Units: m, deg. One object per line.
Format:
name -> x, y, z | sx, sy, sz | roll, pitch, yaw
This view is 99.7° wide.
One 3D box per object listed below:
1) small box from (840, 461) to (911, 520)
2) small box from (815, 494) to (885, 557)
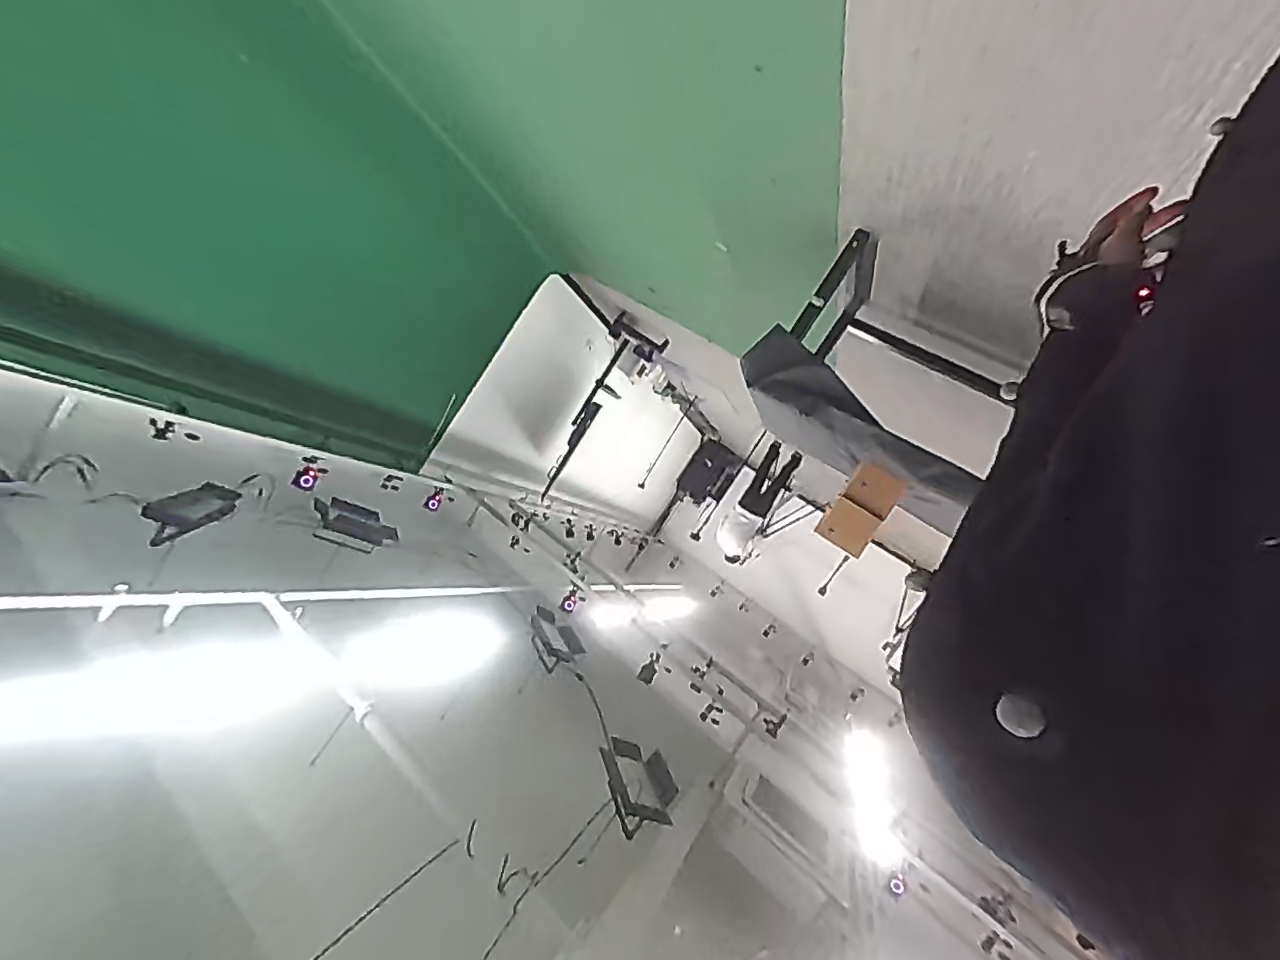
small box -> 0.884, 0.036, 2.046 | 0.179, 0.176, 0.168 | 34, -176, 14
small box -> 0.788, 0.168, 2.035 | 0.179, 0.176, 0.168 | 35, -176, 12
